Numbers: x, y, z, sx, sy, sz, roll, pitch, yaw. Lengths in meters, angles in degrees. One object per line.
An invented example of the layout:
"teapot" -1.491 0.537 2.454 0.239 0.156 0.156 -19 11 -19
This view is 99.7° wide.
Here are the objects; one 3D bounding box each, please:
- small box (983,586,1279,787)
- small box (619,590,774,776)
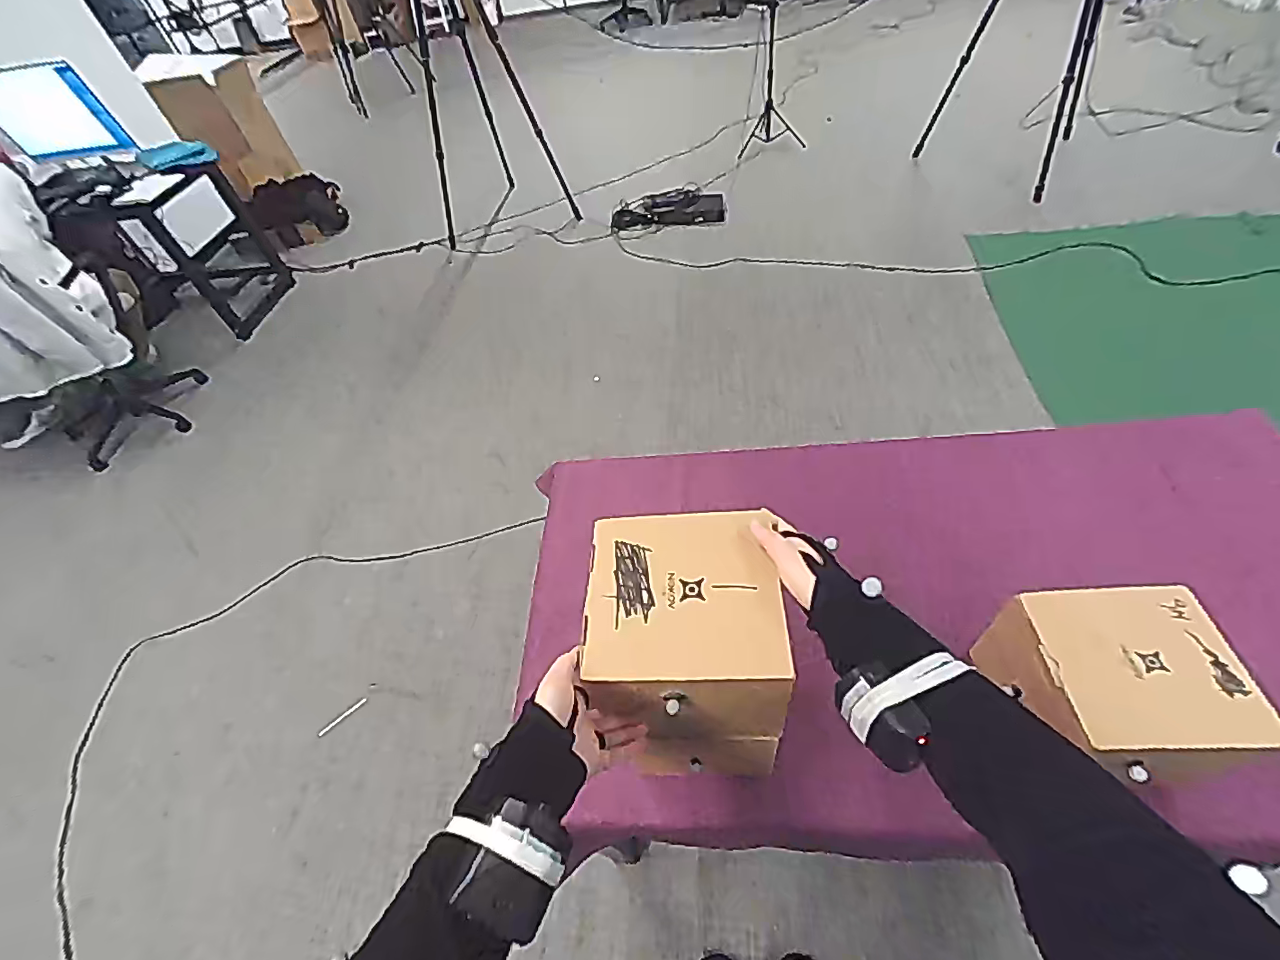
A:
"small box" 0.515 0.235 0.604 0.179 0.176 0.168 -5 50 8
"small box" 0.074 0.256 0.670 0.168 0.176 0.179 -3 50 7
